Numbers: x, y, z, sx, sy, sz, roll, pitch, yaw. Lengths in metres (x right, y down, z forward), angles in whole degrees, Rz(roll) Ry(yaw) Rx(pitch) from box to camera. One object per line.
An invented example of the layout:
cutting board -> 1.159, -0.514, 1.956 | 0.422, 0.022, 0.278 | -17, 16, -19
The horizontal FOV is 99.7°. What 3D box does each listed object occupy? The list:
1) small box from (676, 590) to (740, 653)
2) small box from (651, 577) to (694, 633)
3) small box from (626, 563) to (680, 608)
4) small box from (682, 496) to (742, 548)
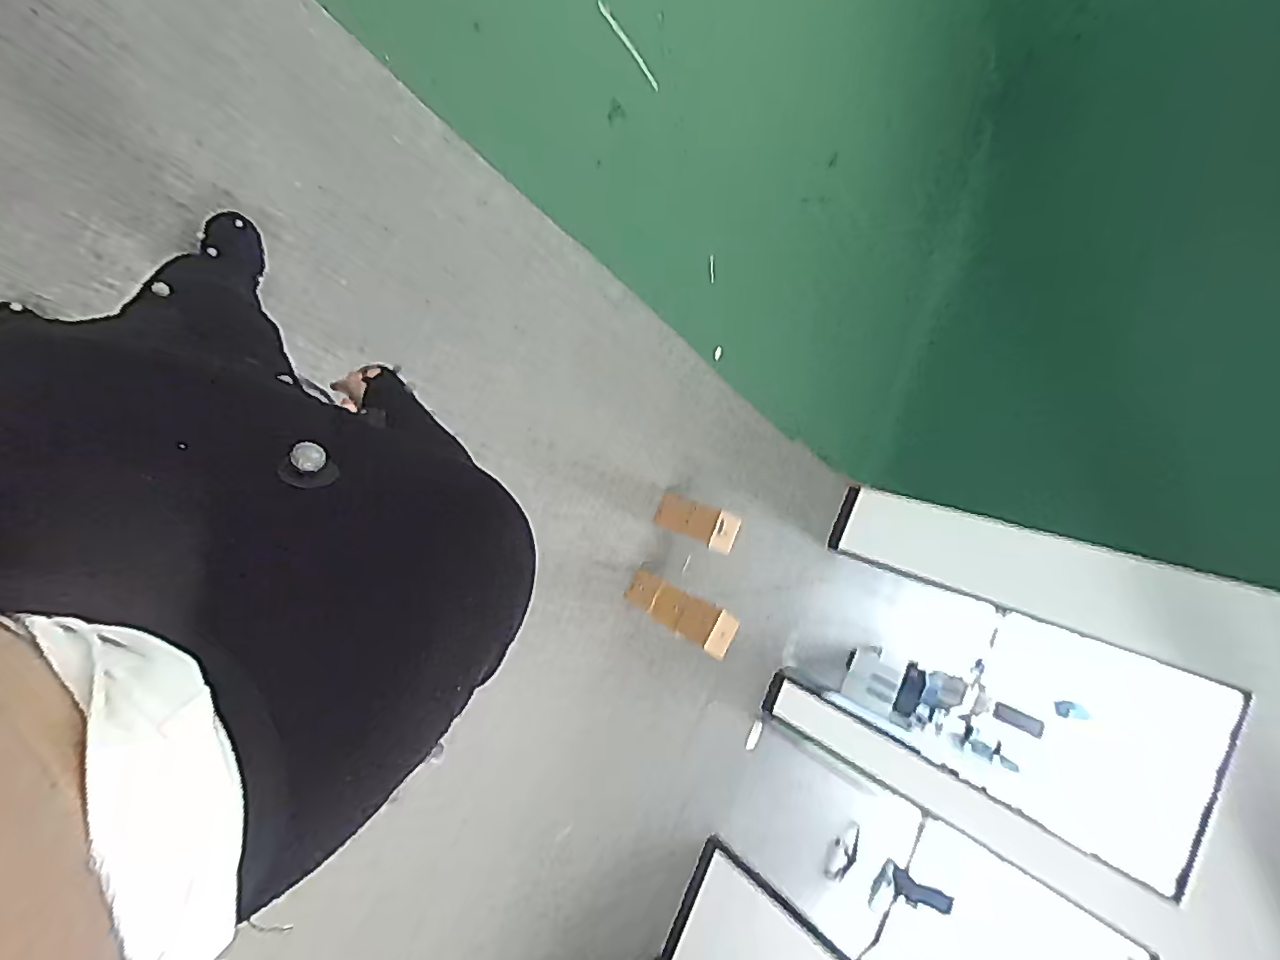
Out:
small box -> 0.280, 0.587, 2.260 | 0.168, 0.176, 0.179 | 42, 75, -43
small box -> 0.175, 0.554, 2.380 | 0.168, 0.176, 0.179 | 36, 78, -45
small box -> 0.065, 0.501, 2.489 | 0.179, 0.176, 0.168 | 38, 78, -44
small box -> 0.312, 0.182, 2.376 | 0.179, 0.176, 0.168 | 24, 88, -47
